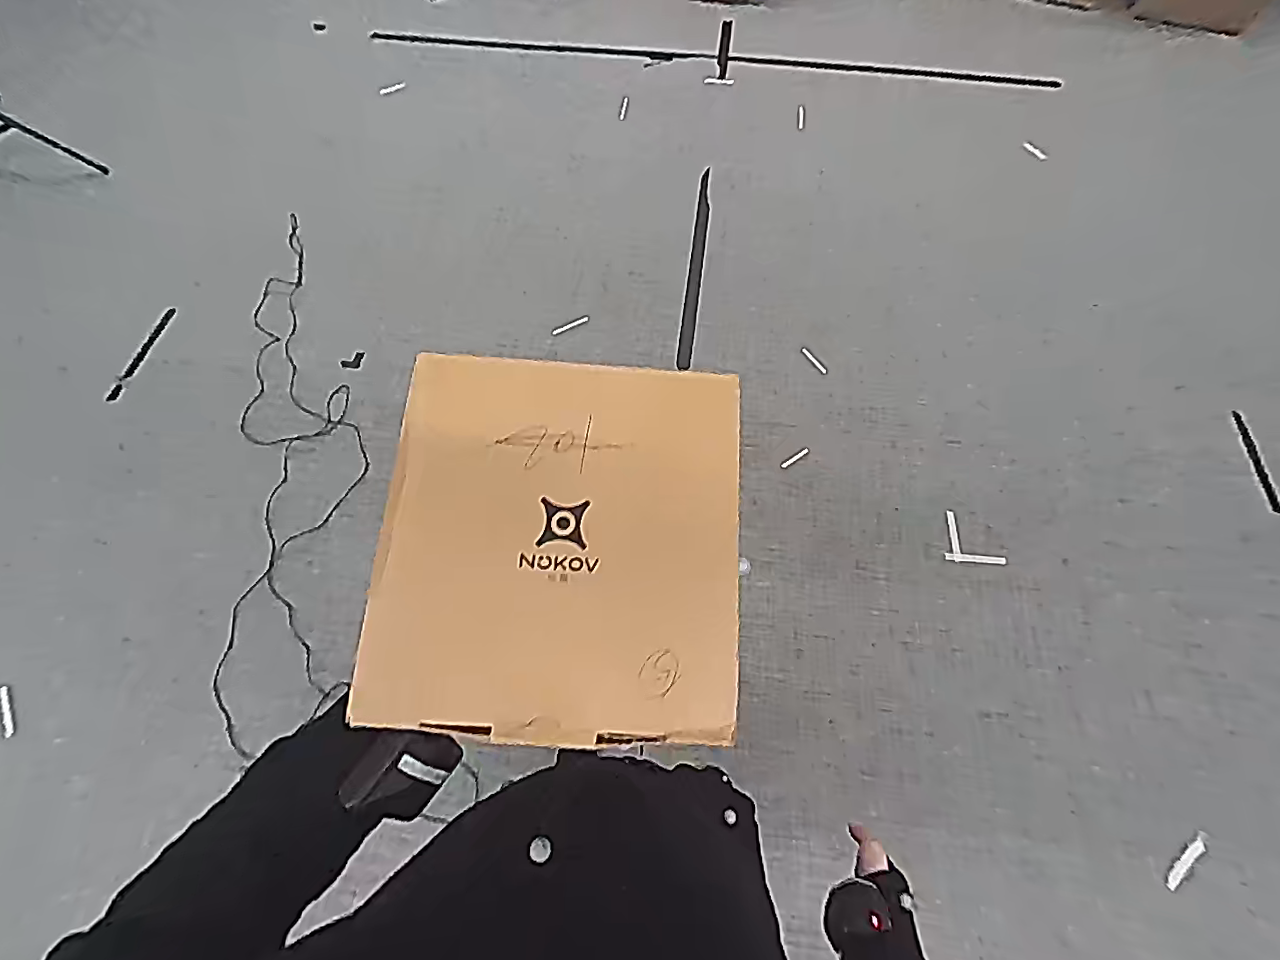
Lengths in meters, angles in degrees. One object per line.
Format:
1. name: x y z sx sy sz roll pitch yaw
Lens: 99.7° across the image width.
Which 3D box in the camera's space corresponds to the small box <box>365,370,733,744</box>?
1. small box: -0.040 0.053 0.340 0.168 0.176 0.179 4 72 -2
